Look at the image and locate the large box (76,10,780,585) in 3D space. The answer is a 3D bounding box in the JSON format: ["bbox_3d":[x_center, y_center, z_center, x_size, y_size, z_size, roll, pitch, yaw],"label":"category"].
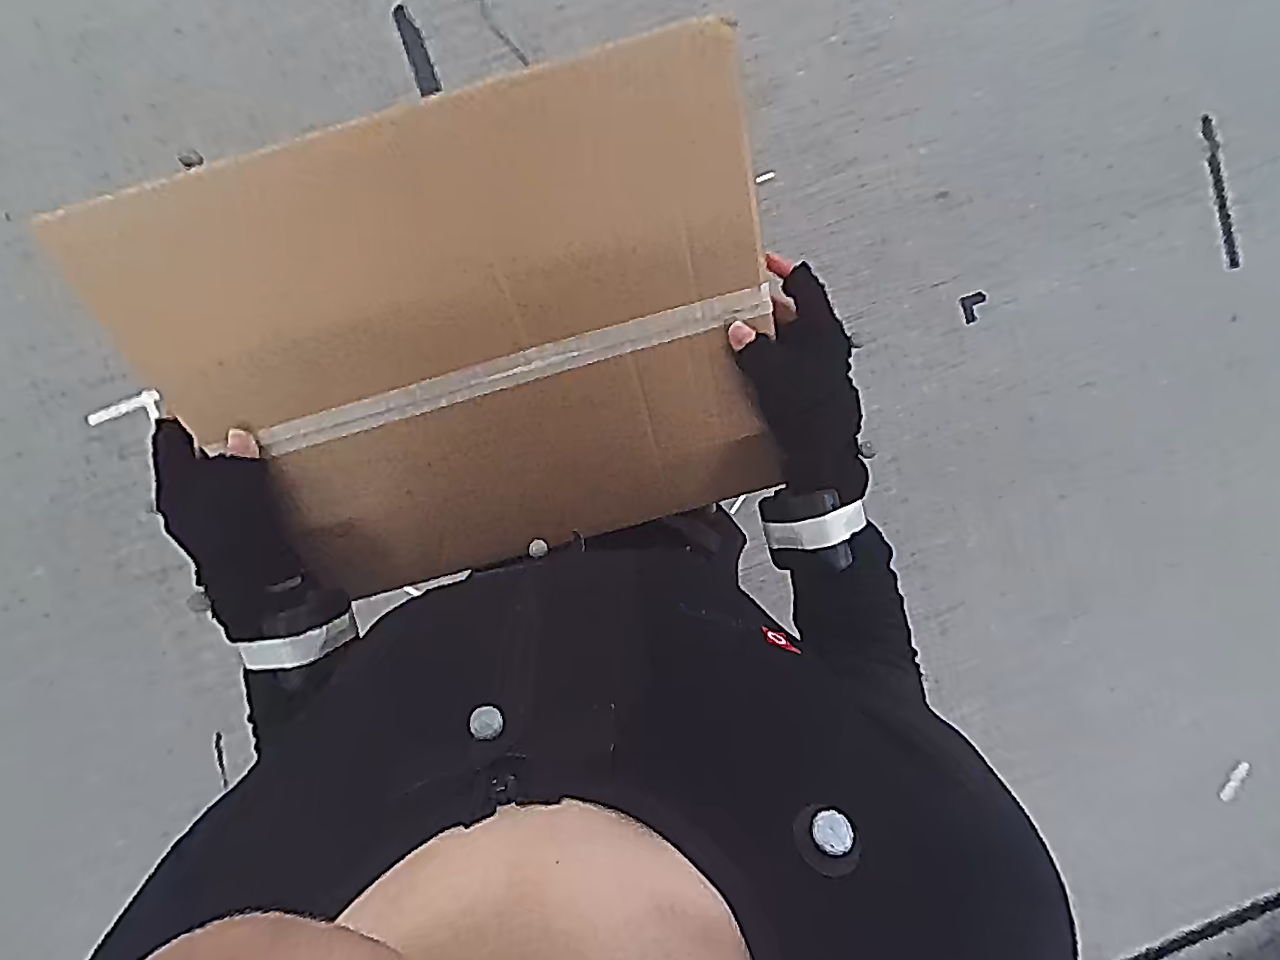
[{"bbox_3d":[-0.126,-0.160,0.513,0.408,0.320,0.320,-16,124,2],"label":"large box"}]
